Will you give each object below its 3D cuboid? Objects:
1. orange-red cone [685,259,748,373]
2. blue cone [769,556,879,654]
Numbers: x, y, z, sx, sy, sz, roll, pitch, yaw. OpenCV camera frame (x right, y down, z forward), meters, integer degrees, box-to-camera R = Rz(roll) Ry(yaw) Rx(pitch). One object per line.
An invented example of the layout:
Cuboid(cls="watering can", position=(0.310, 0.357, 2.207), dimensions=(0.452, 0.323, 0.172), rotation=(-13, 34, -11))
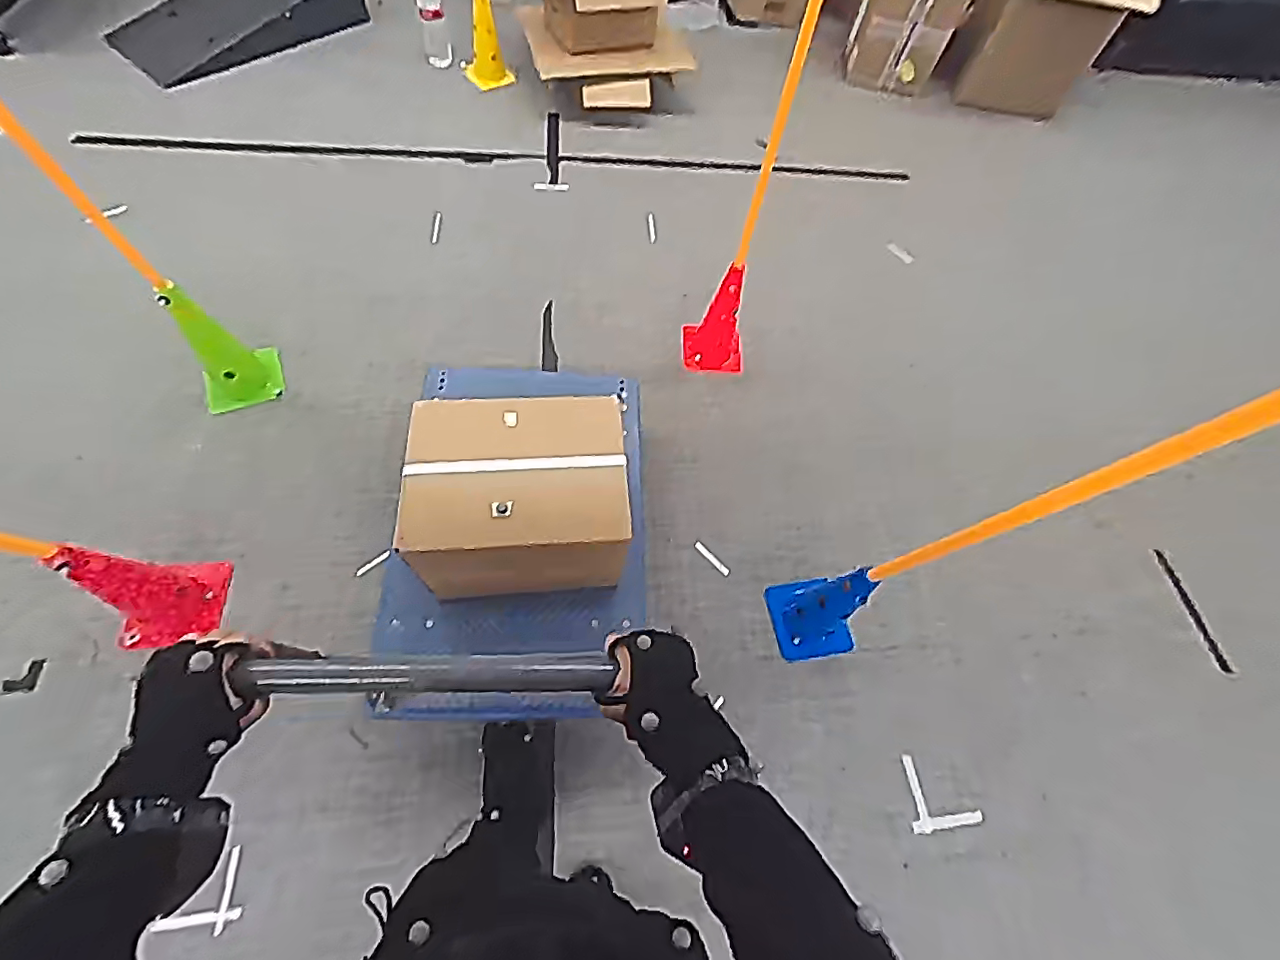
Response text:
Cuboid(cls="orange-red cone", position=(0.269, -0.525, 1.669), dimensions=(0.199, 0.360, 0.198), rotation=(5, 62, -5))
Cuboid(cls="blue cone", position=(0.463, 0.274, 1.278), dimensions=(0.193, 0.380, 0.192), rotation=(-5, 61, -9))
